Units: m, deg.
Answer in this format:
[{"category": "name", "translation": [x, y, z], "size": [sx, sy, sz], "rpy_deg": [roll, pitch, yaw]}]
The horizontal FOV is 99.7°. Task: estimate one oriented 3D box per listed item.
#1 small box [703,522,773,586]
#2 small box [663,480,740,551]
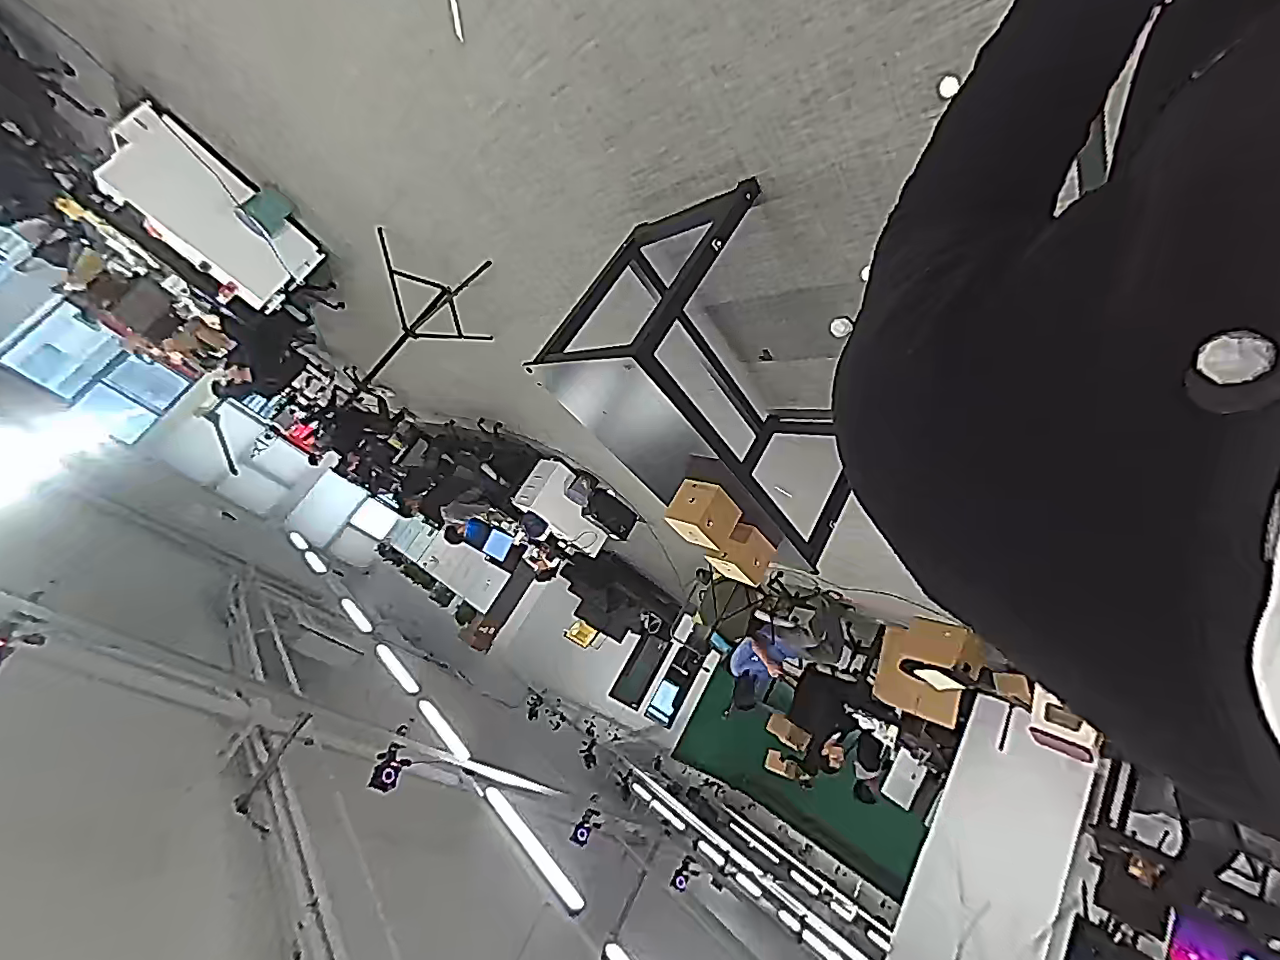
[{"category": "small box", "translation": [0.380, 0.275, 2.065], "size": [0.168, 0.176, 0.179], "rpy_deg": [10, 153, 52]}, {"category": "small box", "translation": [0.220, 0.120, 1.907], "size": [0.168, 0.176, 0.179], "rpy_deg": [13, 155, 49]}]
